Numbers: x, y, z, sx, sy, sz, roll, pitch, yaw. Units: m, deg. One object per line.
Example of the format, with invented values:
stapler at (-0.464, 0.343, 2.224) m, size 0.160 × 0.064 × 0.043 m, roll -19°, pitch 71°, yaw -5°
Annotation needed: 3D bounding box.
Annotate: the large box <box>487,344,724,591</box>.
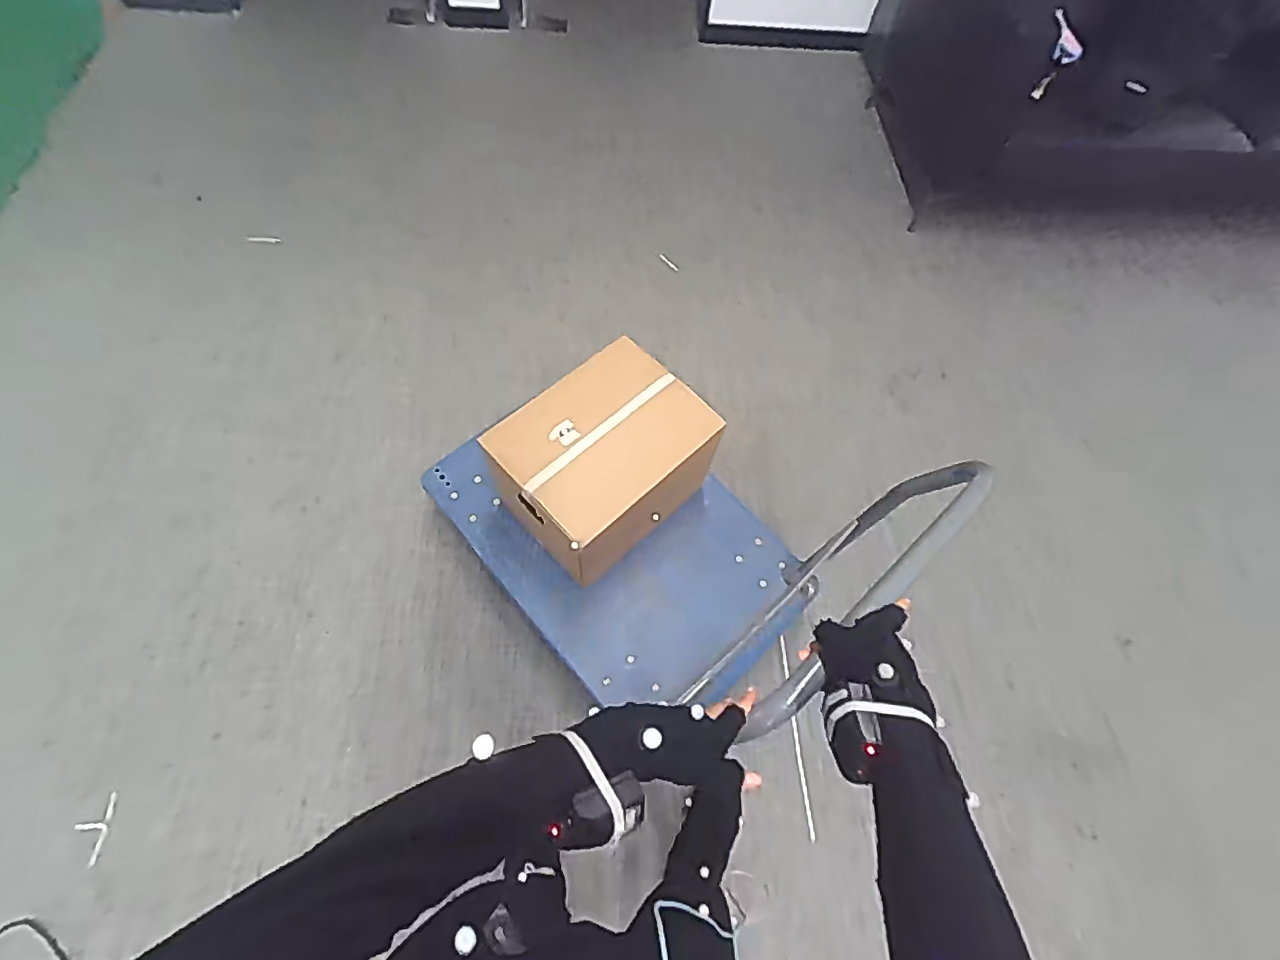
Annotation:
large box at (-0.072, -0.021, 1.235) m, size 0.320 × 0.320 × 0.408 m, roll 42°, pitch 69°, yaw 16°
